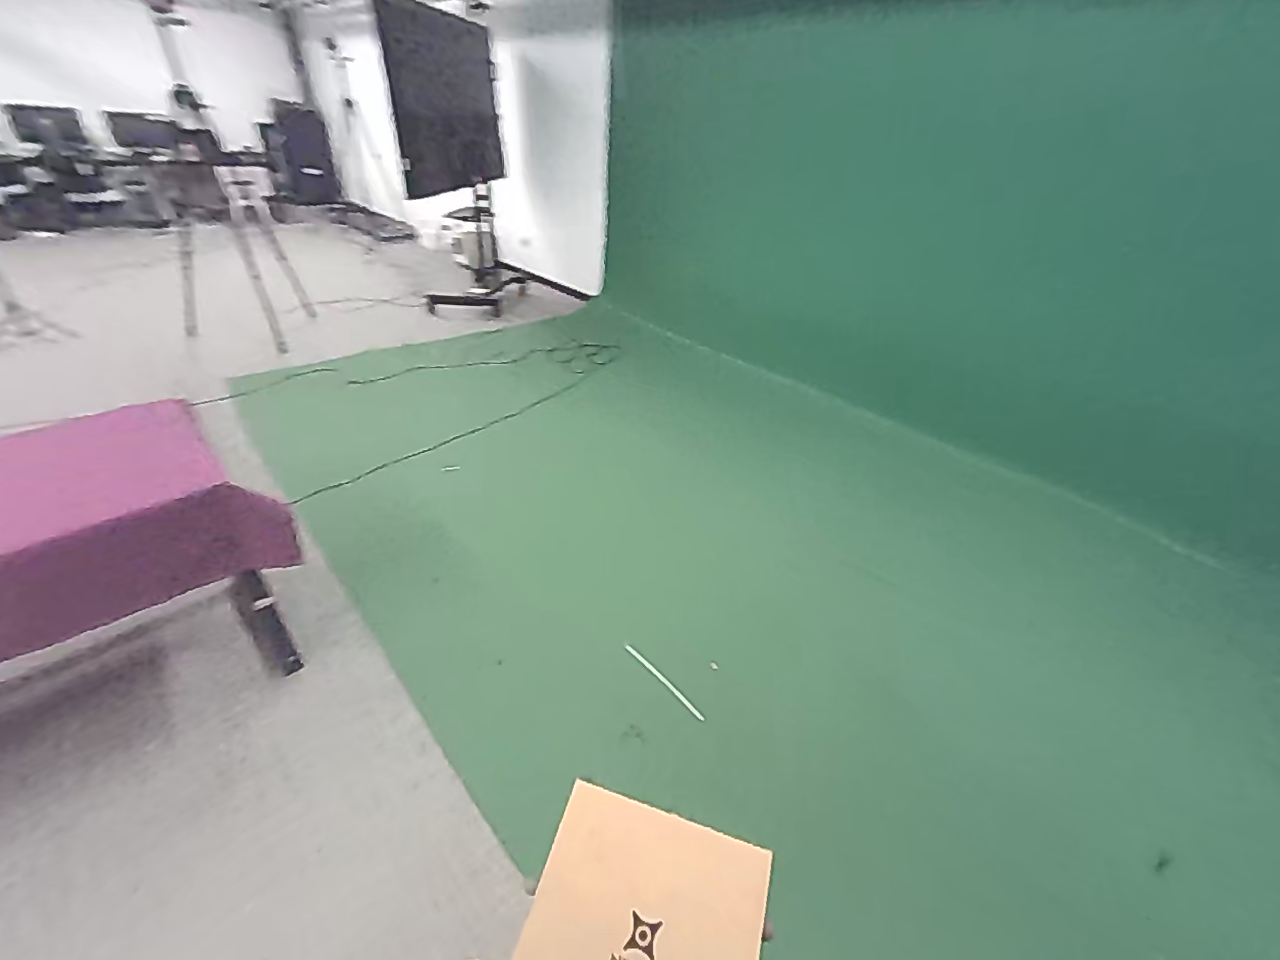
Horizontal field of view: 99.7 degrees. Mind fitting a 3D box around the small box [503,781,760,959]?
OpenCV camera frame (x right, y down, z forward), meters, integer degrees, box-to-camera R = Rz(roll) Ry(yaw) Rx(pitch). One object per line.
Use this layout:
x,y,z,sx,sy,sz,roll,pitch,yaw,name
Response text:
-0.012,0.382,0.441,0.168,0.176,0.179,15,51,10,small box
